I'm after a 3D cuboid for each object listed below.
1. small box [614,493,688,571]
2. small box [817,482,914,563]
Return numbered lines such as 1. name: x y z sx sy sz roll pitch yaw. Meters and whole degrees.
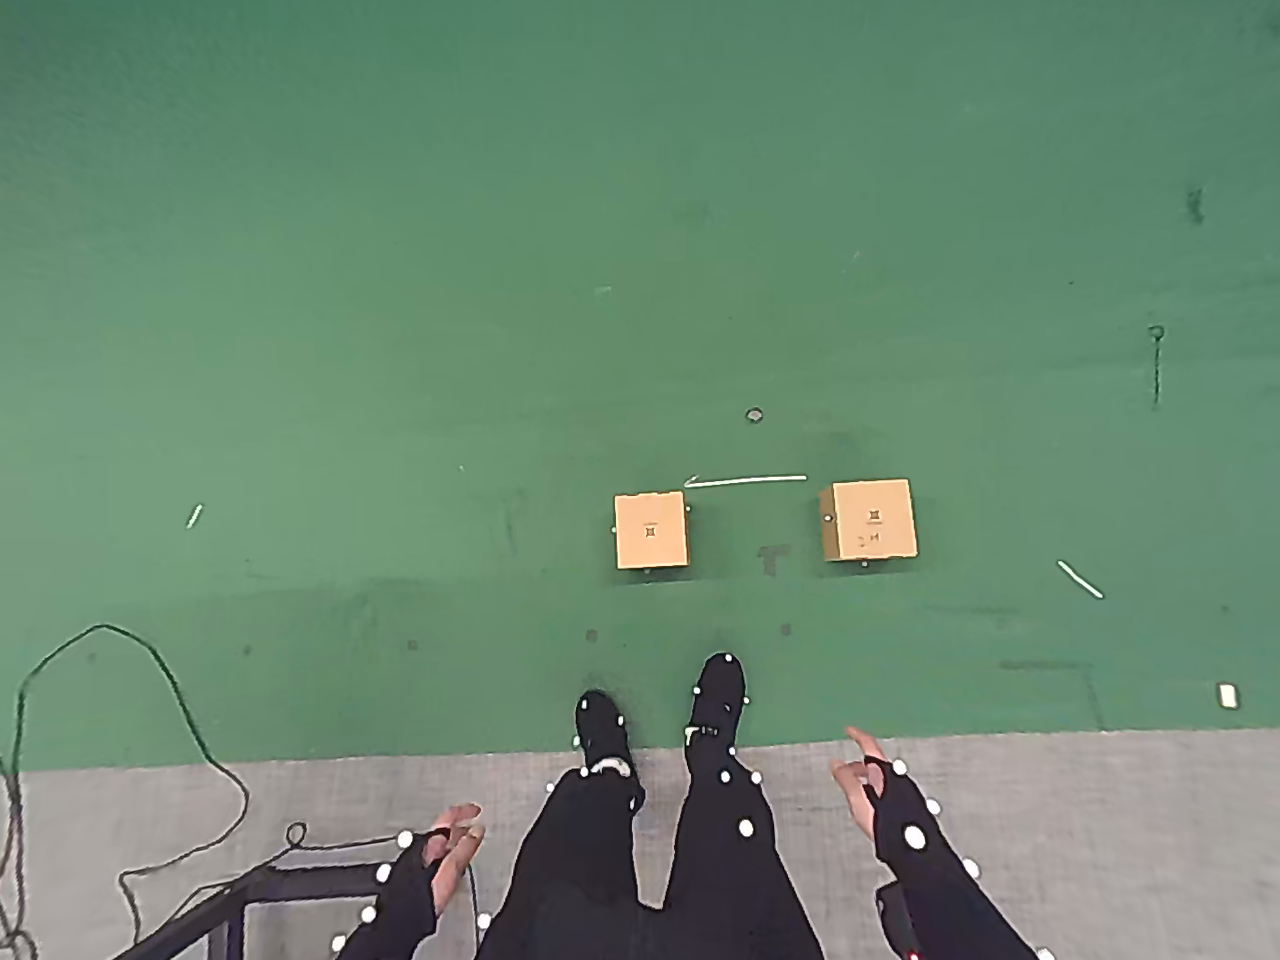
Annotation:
1. small box: 0.031 0.135 1.348 0.168 0.176 0.179 -4 79 6
2. small box: 0.530 0.107 1.295 0.168 0.176 0.179 -3 80 6
